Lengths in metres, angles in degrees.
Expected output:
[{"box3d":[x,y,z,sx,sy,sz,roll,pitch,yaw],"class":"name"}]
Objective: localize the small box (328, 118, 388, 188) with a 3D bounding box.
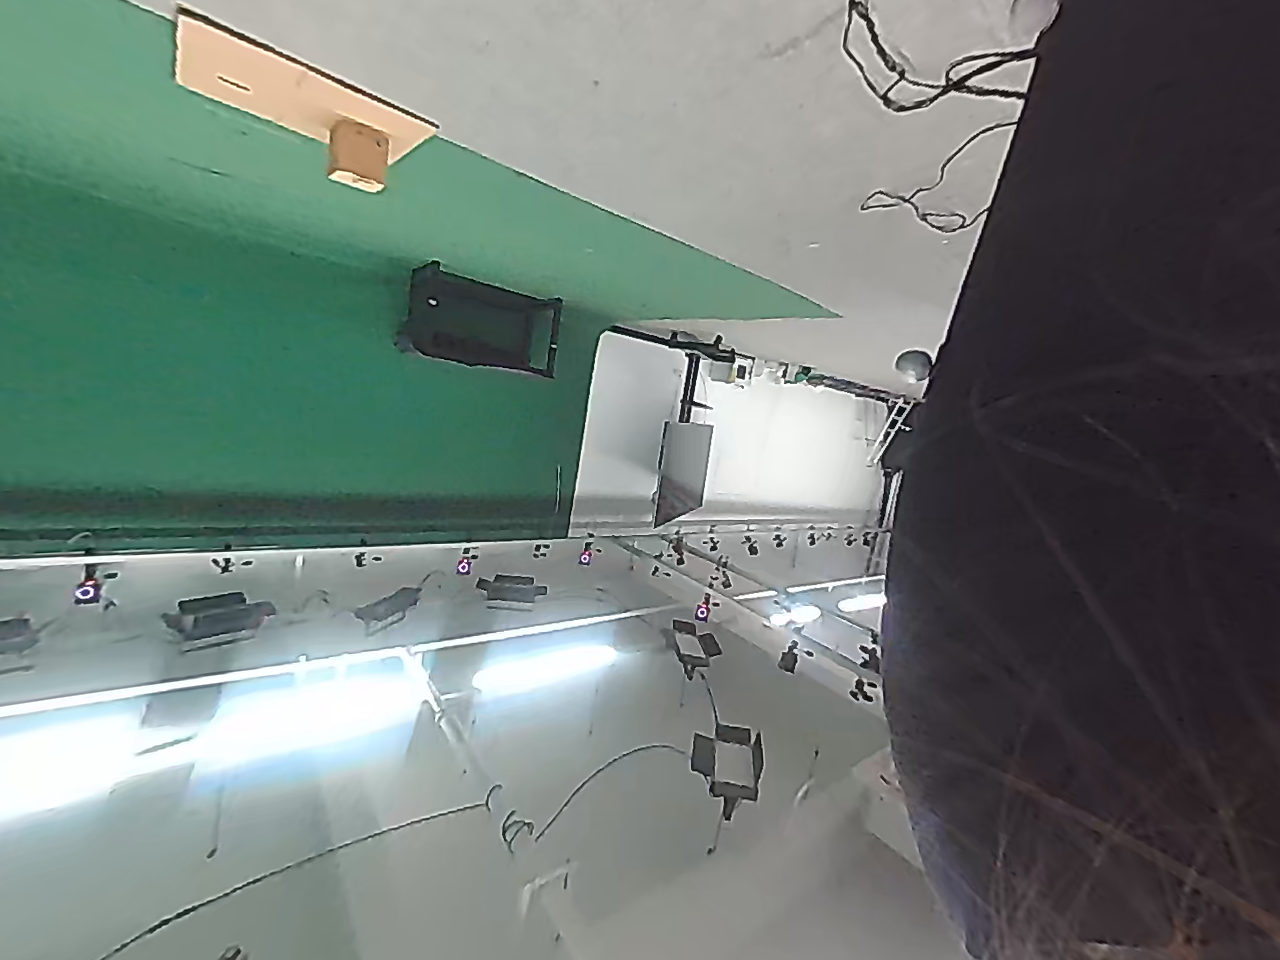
[{"box3d":[-1.066,-1.237,2.045,0.168,0.176,0.179,1,-167,-42],"class":"small box"}]
